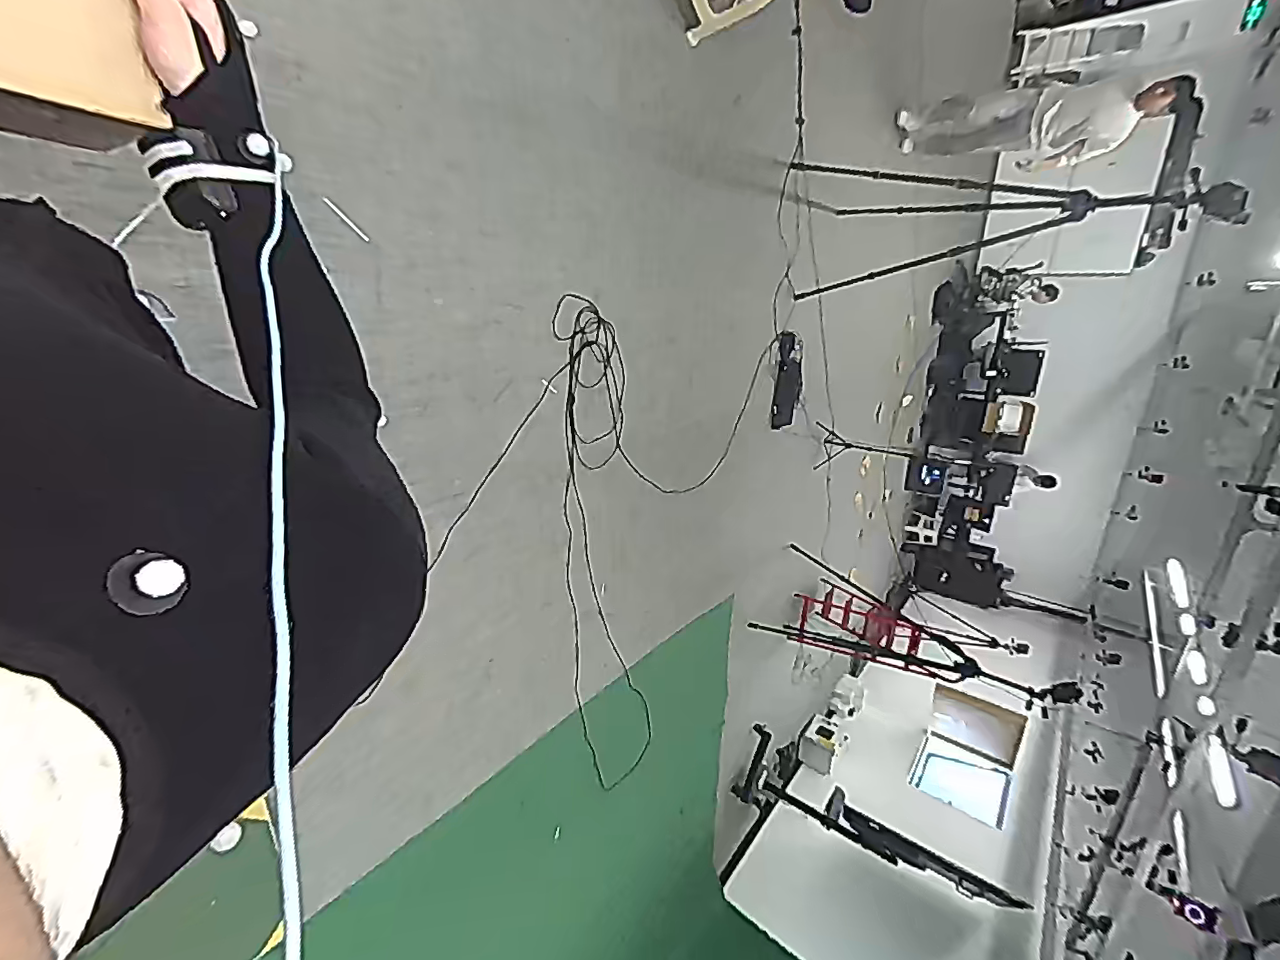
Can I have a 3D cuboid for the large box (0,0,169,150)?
[{"bbox_3d":[-0.603,-0.435,0.328,0.408,0.320,0.320,-14,119,-48],"label":"large box"}]
